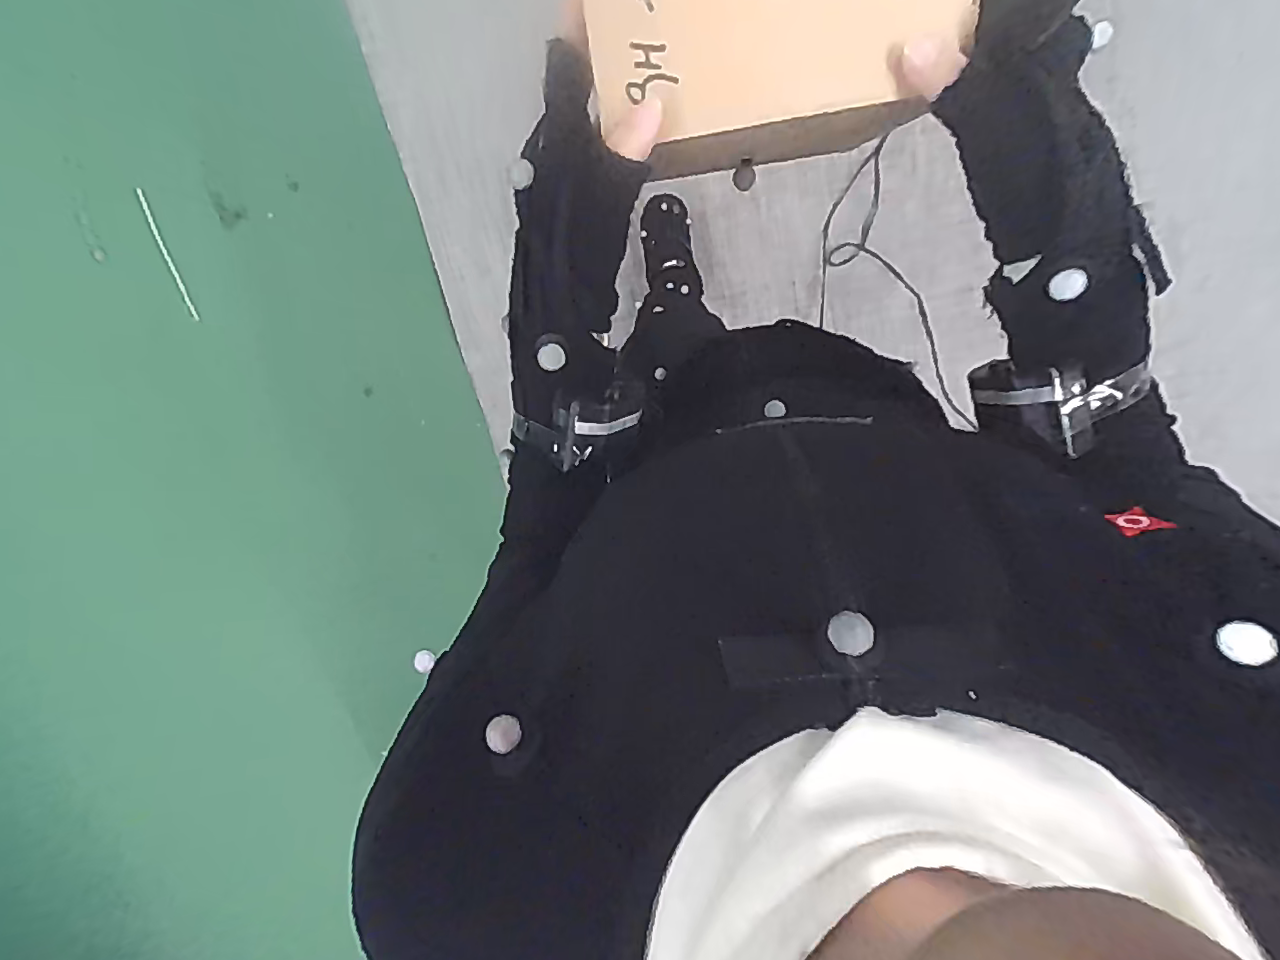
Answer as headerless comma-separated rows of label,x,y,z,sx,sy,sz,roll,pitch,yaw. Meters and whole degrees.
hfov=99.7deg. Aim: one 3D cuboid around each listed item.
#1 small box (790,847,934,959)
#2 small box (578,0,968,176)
small box,0.340,0.713,0.844,0.179,0.176,0.168,-12,110,8
small box,0.054,-0.281,0.300,0.179,0.176,0.168,-7,112,4
